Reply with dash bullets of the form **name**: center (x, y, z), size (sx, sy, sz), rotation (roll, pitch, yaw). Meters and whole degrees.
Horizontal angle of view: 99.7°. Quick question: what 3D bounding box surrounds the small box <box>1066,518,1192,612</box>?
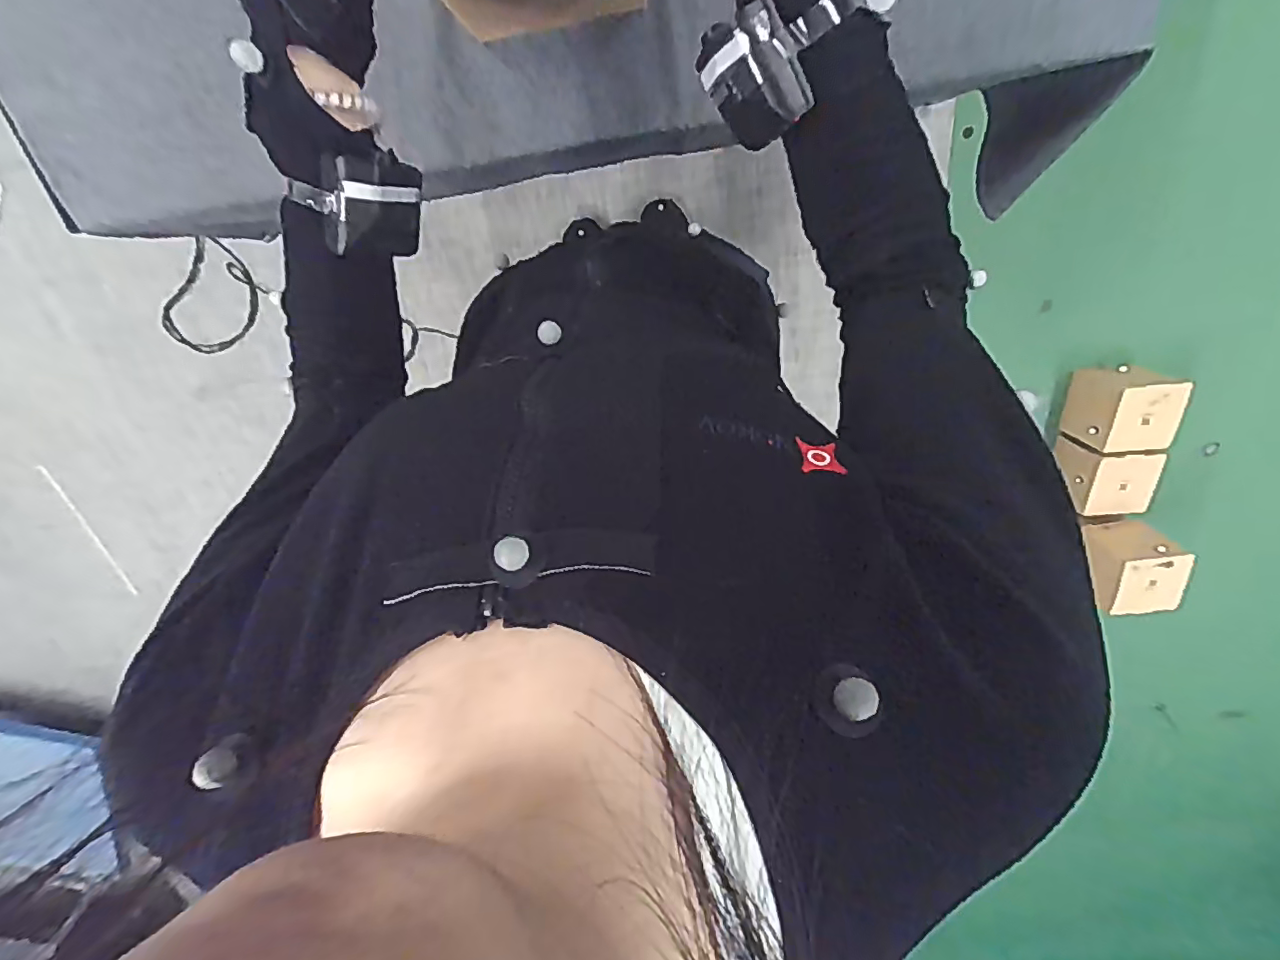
- **small box**: center (1.285, 0.223, 1.439), size (0.168, 0.176, 0.179), rotation (-7, 117, 3)
